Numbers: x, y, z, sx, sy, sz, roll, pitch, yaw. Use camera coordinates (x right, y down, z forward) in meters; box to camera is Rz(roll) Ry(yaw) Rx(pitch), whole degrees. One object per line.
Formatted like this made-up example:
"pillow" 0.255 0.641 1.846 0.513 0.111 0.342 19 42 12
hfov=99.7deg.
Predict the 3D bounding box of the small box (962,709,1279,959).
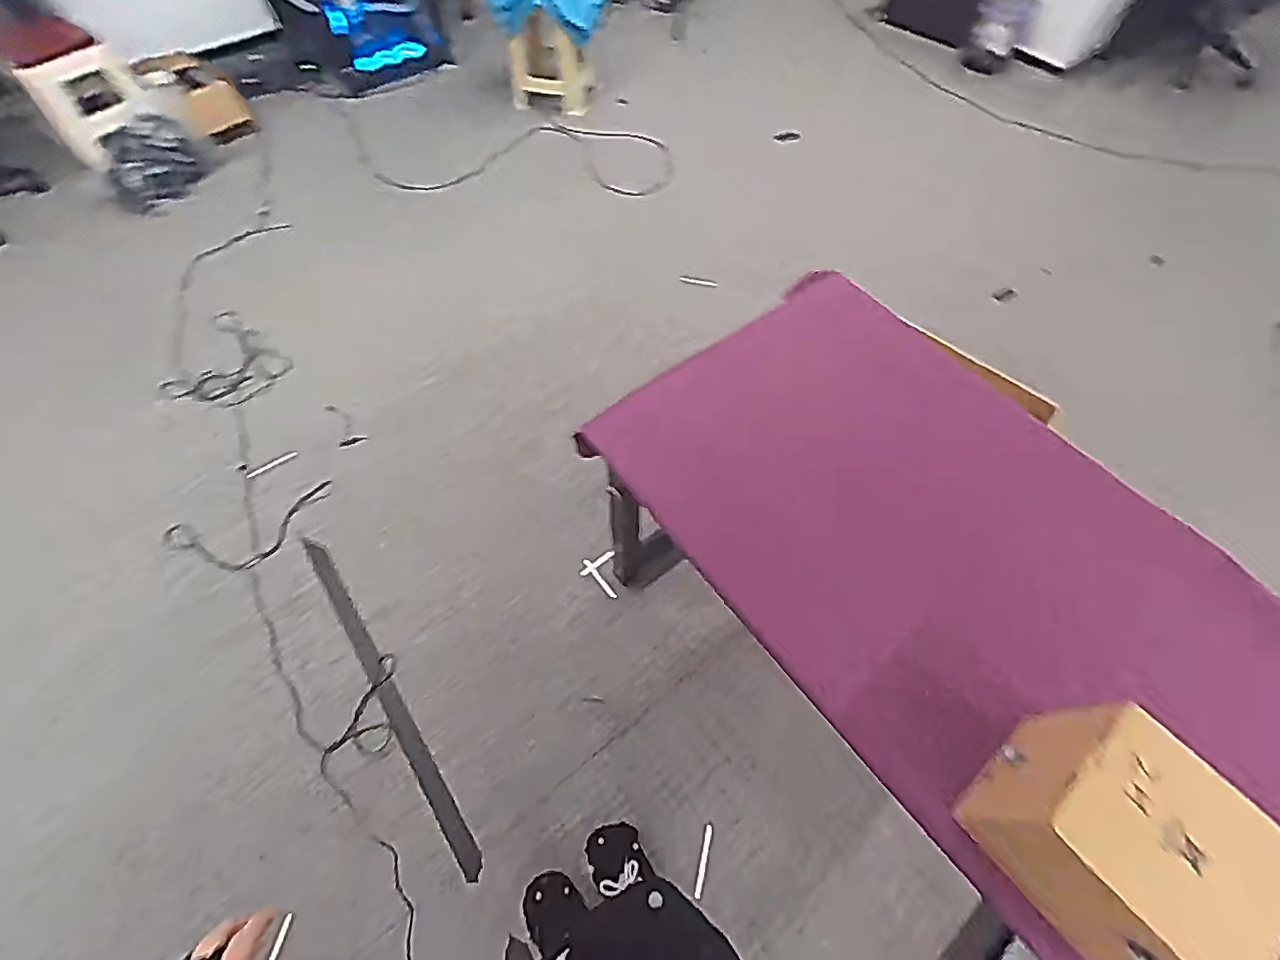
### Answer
"small box" 0.482 0.364 0.547 0.168 0.176 0.179 -34 66 -19
